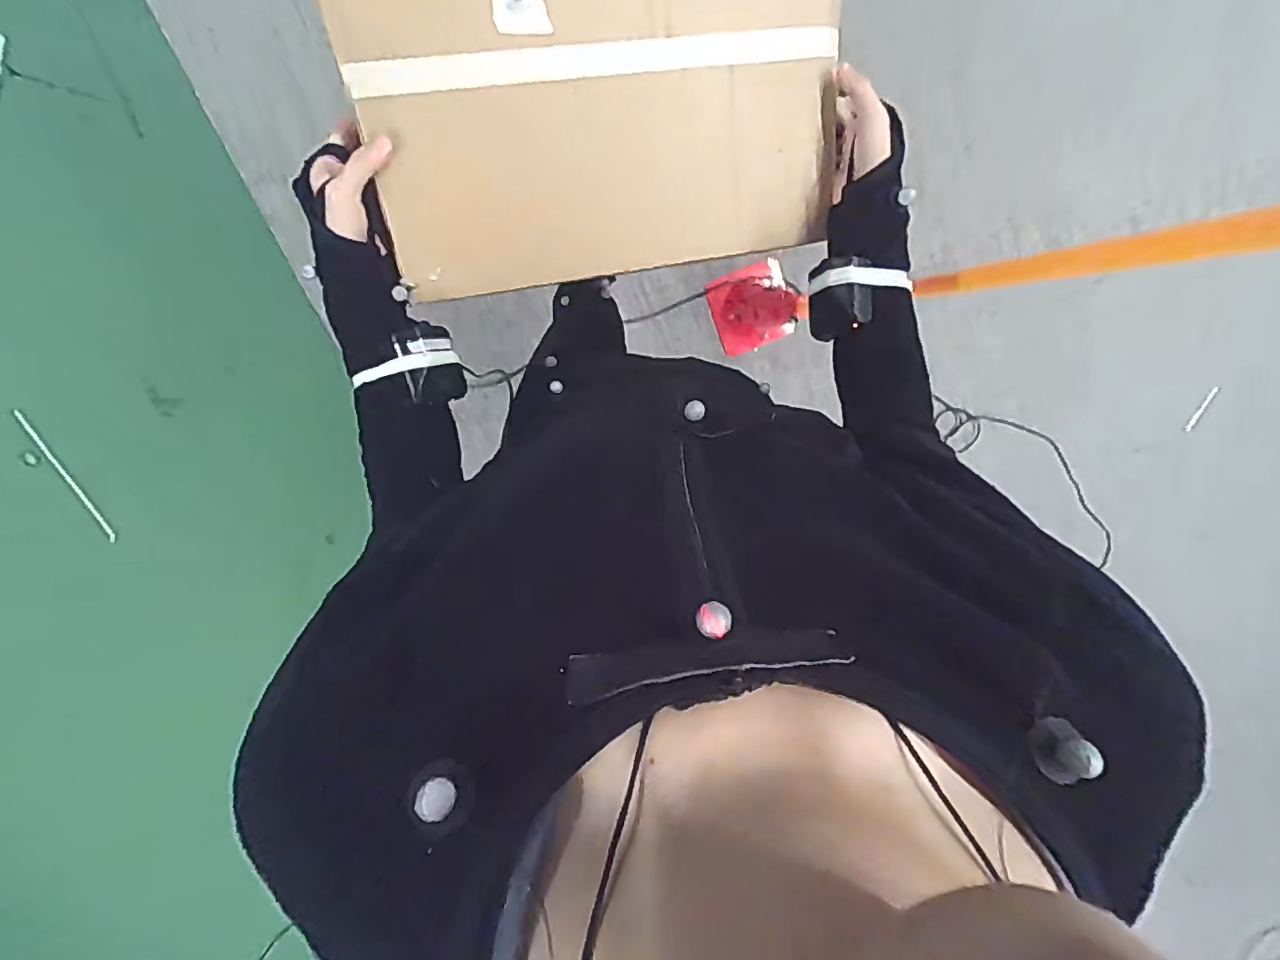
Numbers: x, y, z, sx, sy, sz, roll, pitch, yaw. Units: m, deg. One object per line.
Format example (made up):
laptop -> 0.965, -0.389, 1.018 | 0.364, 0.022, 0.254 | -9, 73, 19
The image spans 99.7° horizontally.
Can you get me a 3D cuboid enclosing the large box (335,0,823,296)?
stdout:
large box -> -0.062, -0.399, 0.586 | 0.408, 0.320, 0.320 | -12, 113, -11
